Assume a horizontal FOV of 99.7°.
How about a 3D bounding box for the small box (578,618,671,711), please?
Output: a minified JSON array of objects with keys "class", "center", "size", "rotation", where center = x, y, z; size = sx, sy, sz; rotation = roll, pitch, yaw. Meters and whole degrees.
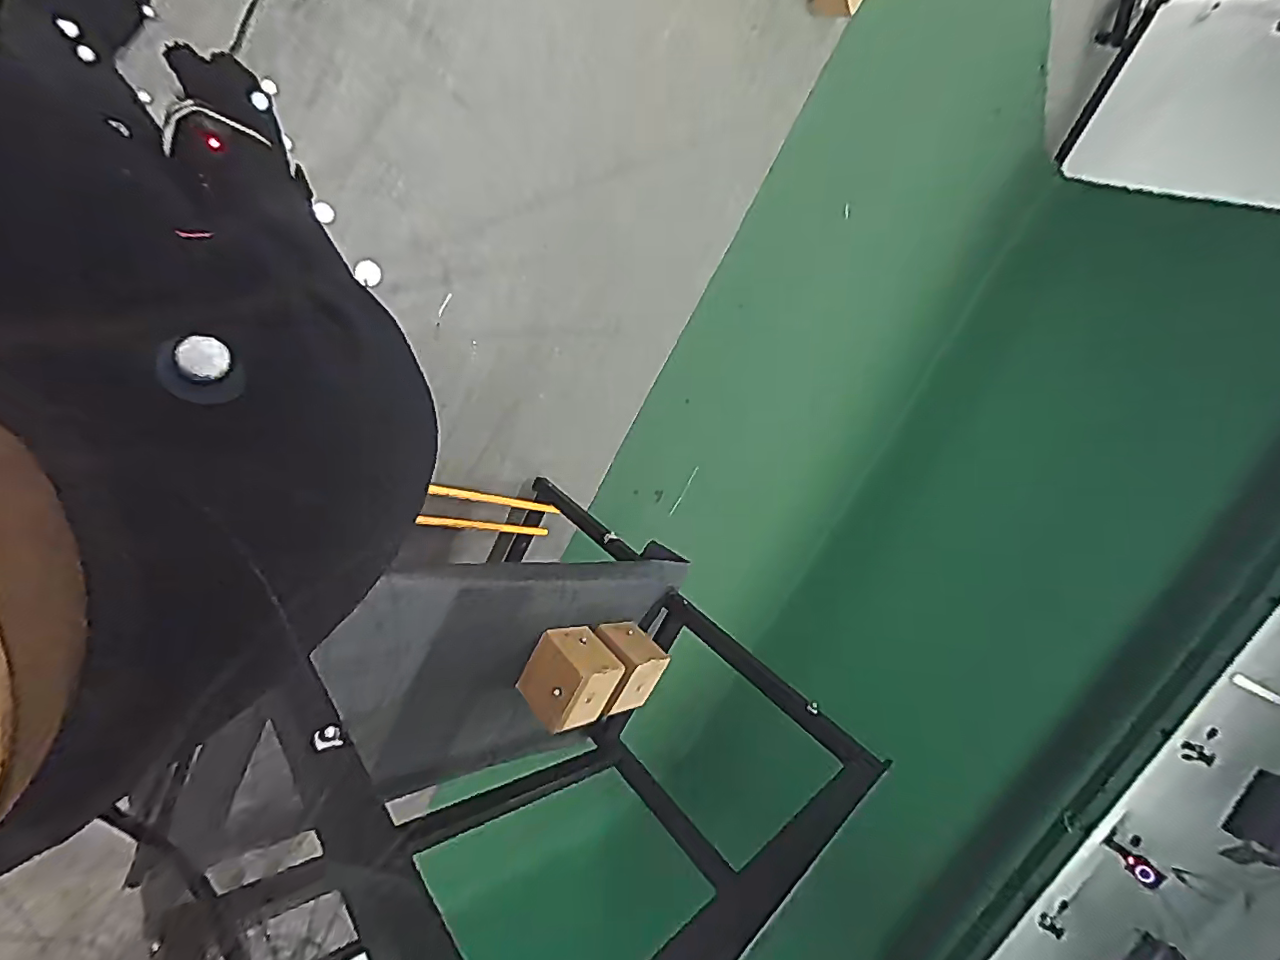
[{"class":"small box","center":[-0.050,0.516,1.533],"size":[0.168,0.176,0.179],"rotation":[15,108,-53]}]
